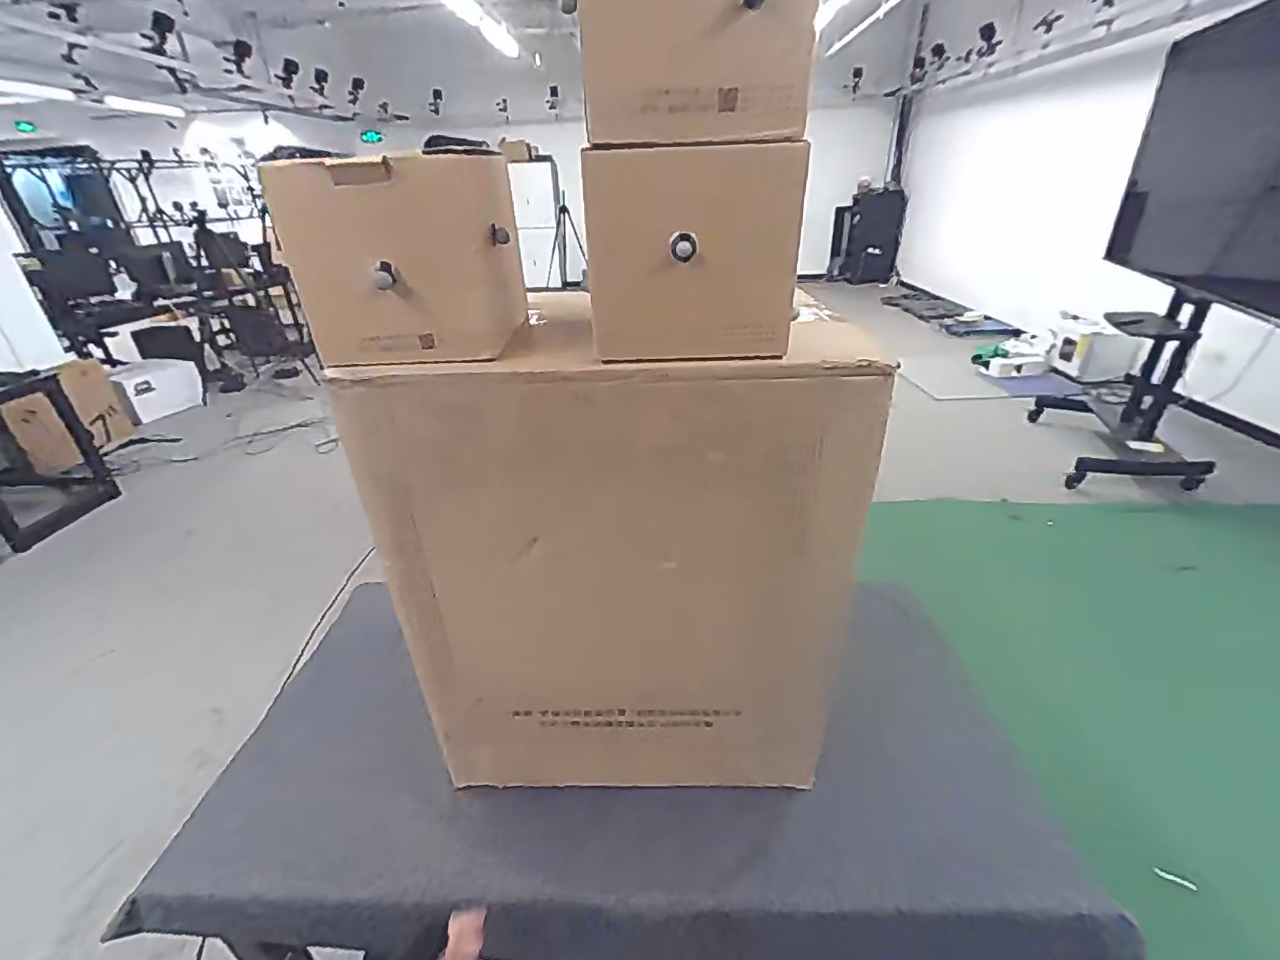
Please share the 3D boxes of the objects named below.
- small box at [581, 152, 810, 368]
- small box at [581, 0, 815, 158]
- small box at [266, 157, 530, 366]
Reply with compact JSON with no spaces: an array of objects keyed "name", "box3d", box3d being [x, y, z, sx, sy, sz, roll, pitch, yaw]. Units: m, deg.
[{"name":"small box","box3d":[0.046,-0.211,0.515,0.179,0.176,0.168,-1,30,2]},{"name":"small box","box3d":[0.039,-0.355,0.442,0.168,0.176,0.179,-1,29,-2]},{"name":"small box","box3d":[-0.213,-0.218,0.540,0.168,0.176,0.179,-1,31,2]}]
